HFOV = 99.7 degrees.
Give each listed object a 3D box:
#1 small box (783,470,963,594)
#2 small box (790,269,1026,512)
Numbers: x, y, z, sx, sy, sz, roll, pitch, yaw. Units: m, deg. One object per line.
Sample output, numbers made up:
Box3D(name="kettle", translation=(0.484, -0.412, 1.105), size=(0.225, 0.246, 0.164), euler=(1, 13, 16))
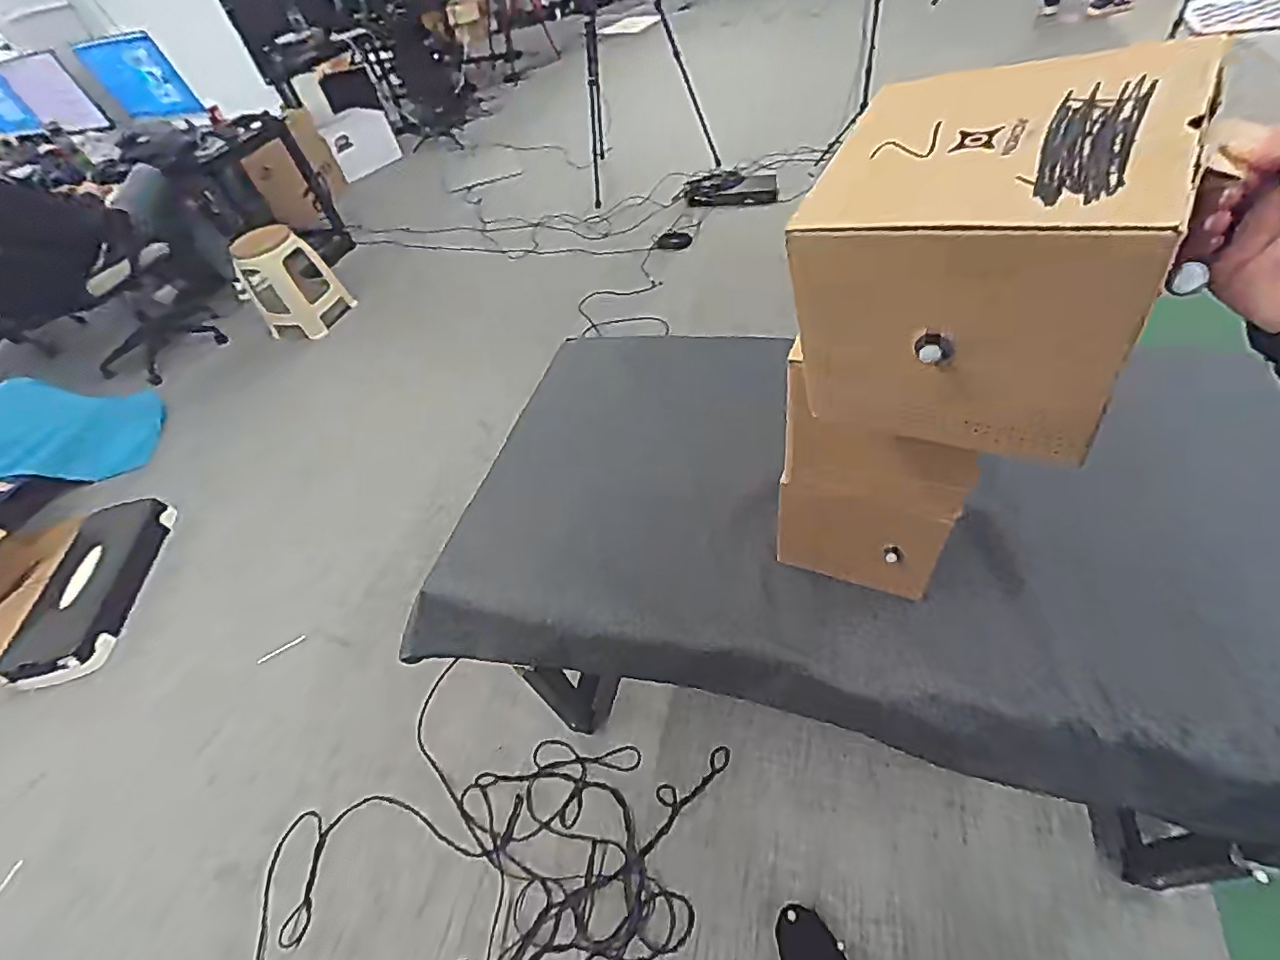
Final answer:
Box3D(name="small box", translation=(0.284, 0.018, 0.665), size=(0.179, 0.176, 0.168), euler=(13, 53, 24))
Box3D(name="small box", translation=(0.258, -0.090, 0.547), size=(0.179, 0.176, 0.168), euler=(14, 53, 22))
